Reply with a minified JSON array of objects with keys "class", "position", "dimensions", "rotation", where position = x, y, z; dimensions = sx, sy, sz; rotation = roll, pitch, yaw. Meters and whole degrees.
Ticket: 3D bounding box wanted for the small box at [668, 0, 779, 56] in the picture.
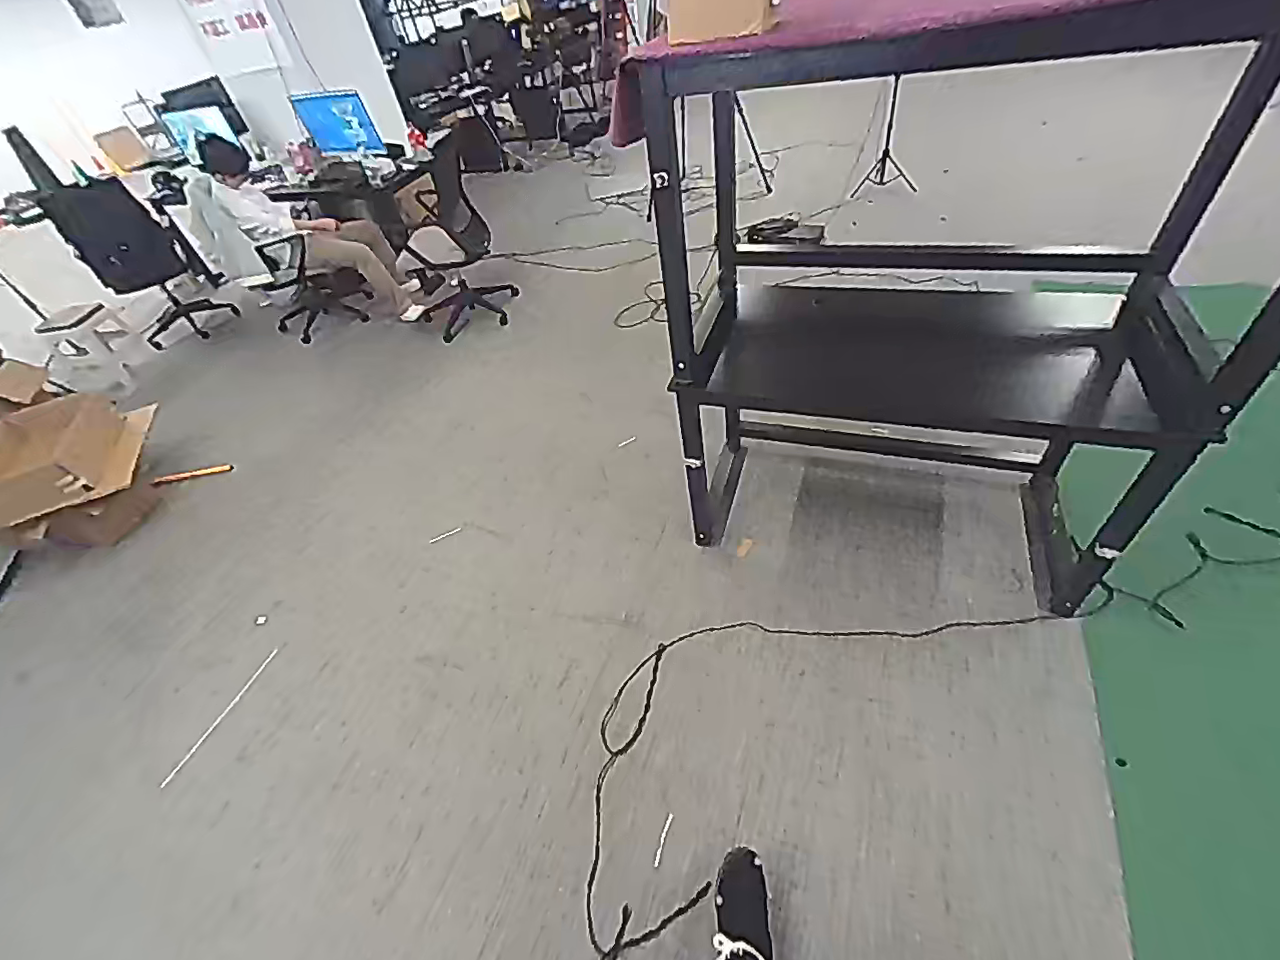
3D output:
[{"class":"small box","position":[0.152,-0.889,0.978],"dimensions":[0.179,0.176,0.168],"rotation":[9,48,19]}]
